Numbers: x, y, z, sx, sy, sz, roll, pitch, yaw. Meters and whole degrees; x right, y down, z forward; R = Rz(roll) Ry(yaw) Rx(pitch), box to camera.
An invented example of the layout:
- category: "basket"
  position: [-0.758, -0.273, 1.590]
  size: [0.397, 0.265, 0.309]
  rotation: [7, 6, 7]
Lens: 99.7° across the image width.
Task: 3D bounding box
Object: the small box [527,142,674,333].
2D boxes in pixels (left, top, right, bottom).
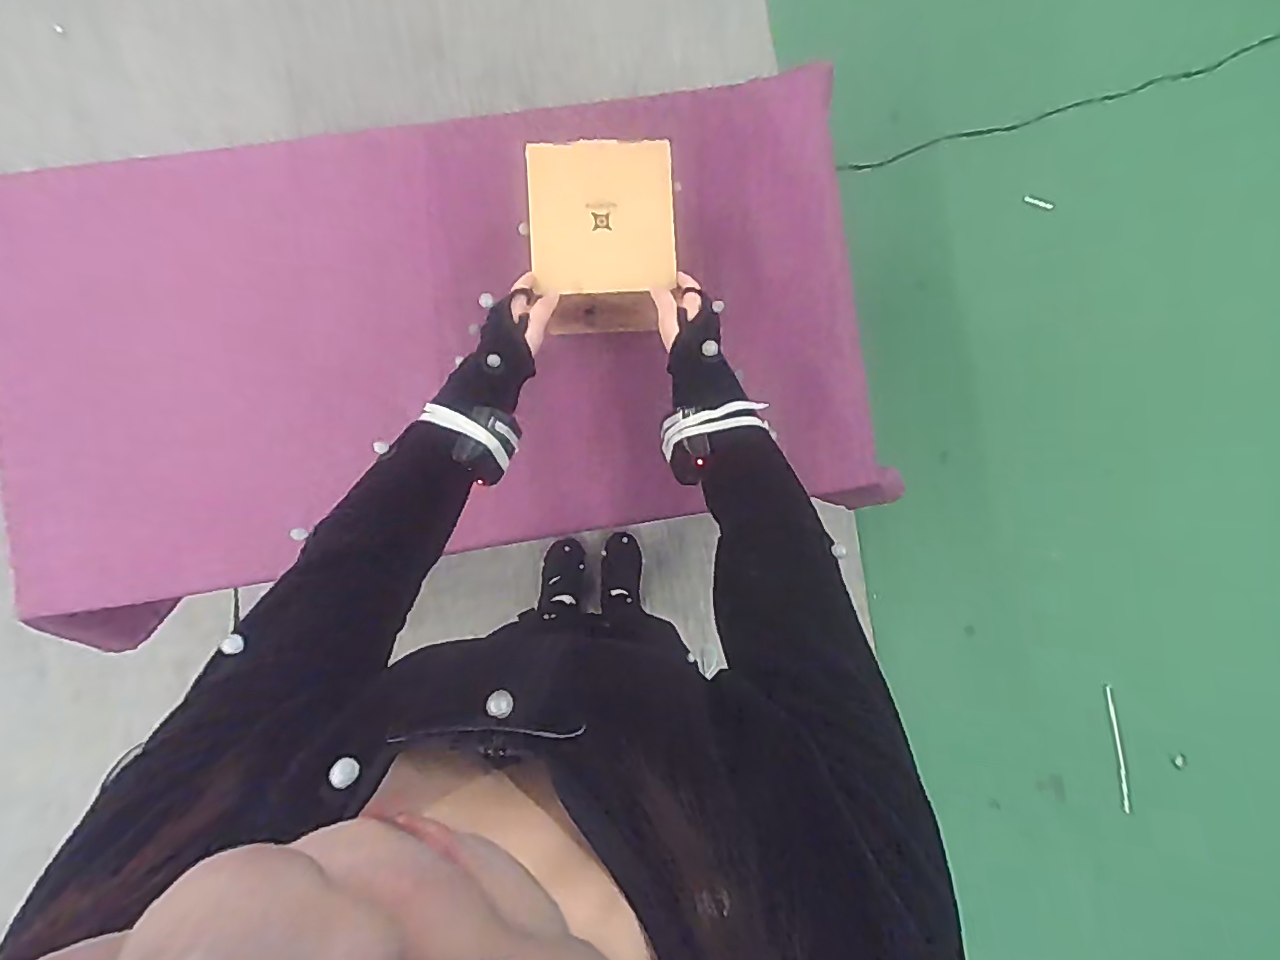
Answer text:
- category: "small box"
  position: [-0.045, -0.294, 0.693]
  size: [0.168, 0.176, 0.179]
  rotation: [-3, 88, -2]
